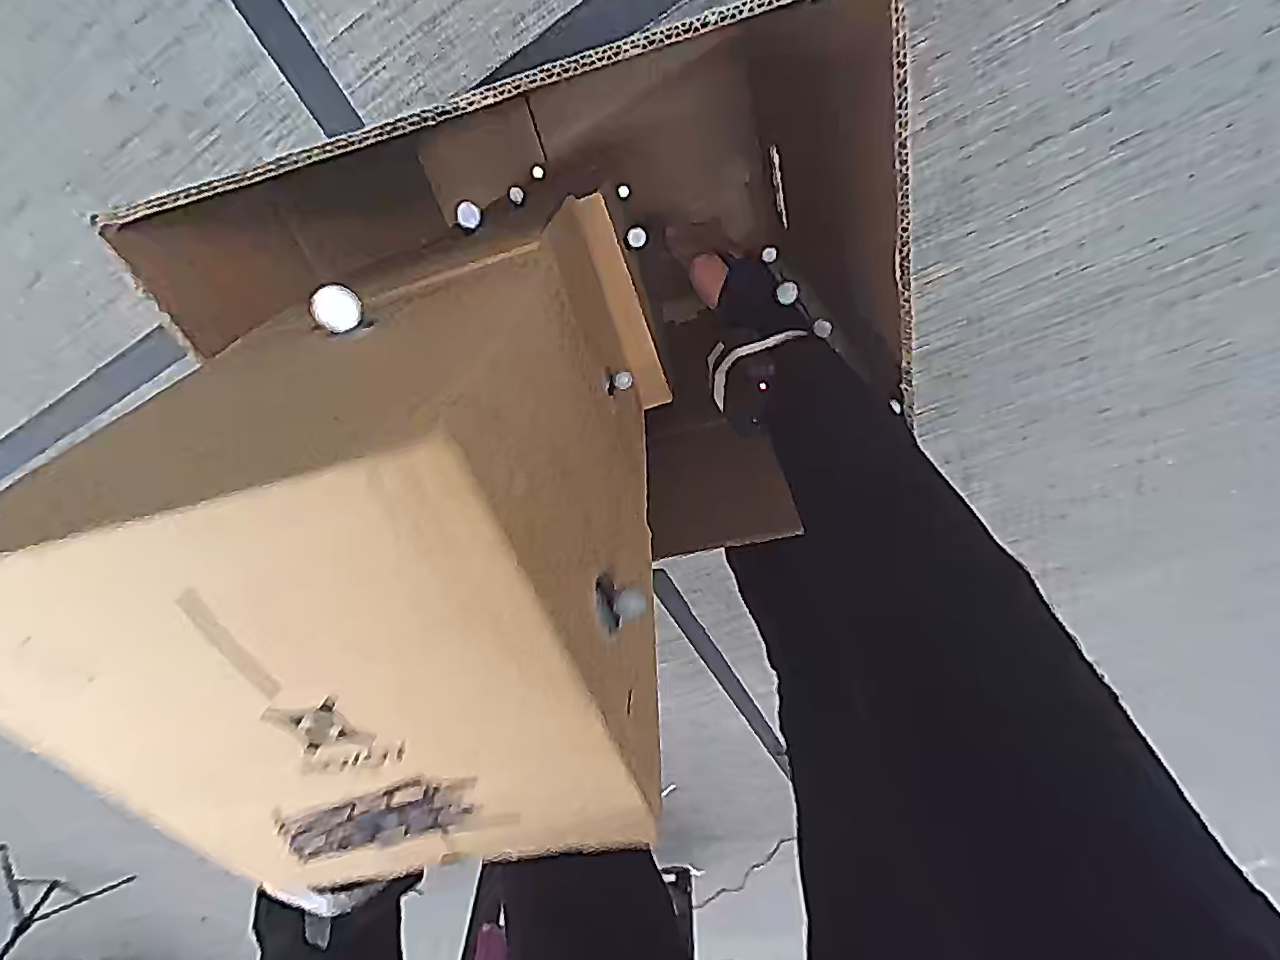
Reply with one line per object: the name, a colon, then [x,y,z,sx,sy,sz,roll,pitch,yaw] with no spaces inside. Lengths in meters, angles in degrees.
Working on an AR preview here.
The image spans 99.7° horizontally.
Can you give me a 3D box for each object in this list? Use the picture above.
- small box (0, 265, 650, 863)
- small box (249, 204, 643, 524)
small box: [-0.094,0.031,0.236,0.168,0.176,0.179,-13,124,8]
small box: [-0.097,-0.064,0.370,0.168,0.176,0.179,-14,124,8]
